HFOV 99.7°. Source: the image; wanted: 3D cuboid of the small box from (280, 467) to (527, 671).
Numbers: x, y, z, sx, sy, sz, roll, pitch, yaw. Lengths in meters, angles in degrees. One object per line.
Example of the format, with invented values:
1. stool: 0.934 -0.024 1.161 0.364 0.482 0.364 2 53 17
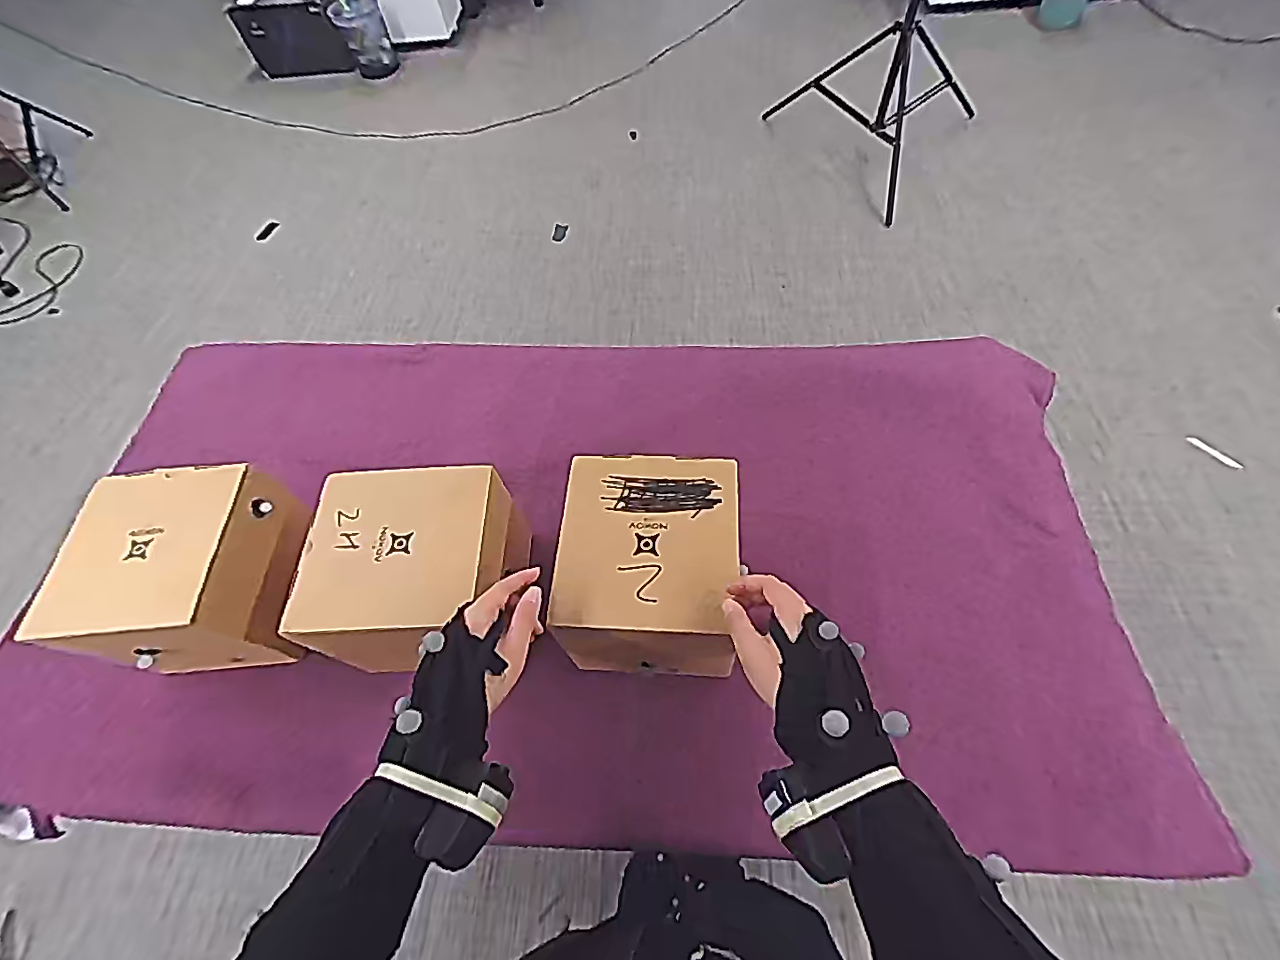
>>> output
1. small box: -0.227 0.102 0.579 0.179 0.176 0.168 -3 58 2

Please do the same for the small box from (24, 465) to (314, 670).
1. small box: -0.482 0.106 0.601 0.168 0.176 0.179 -6 58 1
